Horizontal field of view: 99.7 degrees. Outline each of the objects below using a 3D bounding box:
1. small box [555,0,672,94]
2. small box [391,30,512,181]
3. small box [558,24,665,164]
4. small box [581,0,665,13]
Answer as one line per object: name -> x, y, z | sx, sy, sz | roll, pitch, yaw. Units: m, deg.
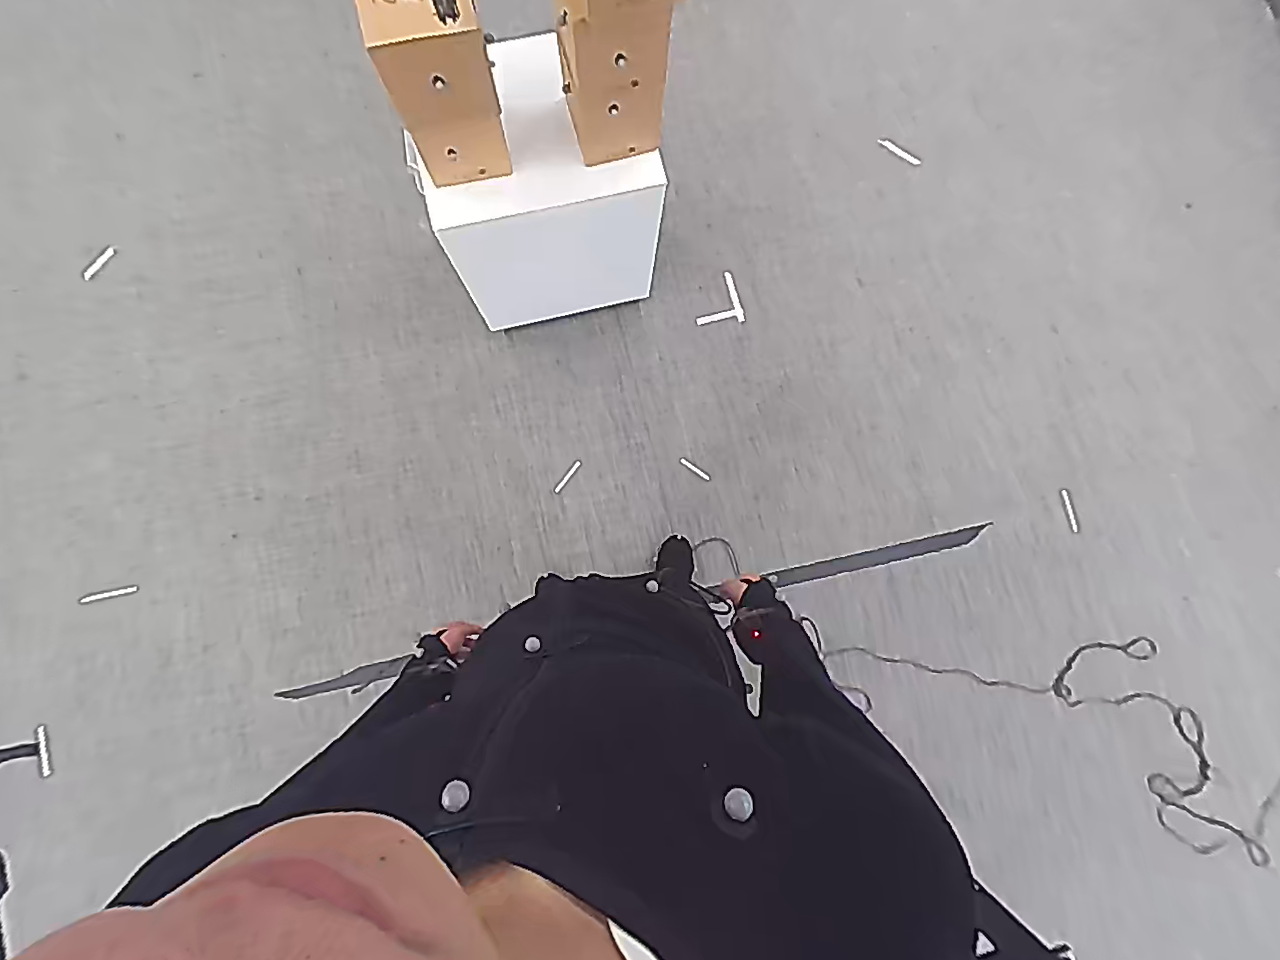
small box -> -0.050, -0.796, 0.915 | 0.168, 0.176, 0.179 | -15, 85, -4
small box -> -0.359, -0.718, 1.060 | 0.168, 0.176, 0.179 | -13, 84, -5
small box -> -0.057, -0.779, 1.079 | 0.168, 0.176, 0.179 | -16, 85, -3
small box -> -0.026, -0.805, 0.753 | 0.168, 0.176, 0.179 | -20, 85, -5
